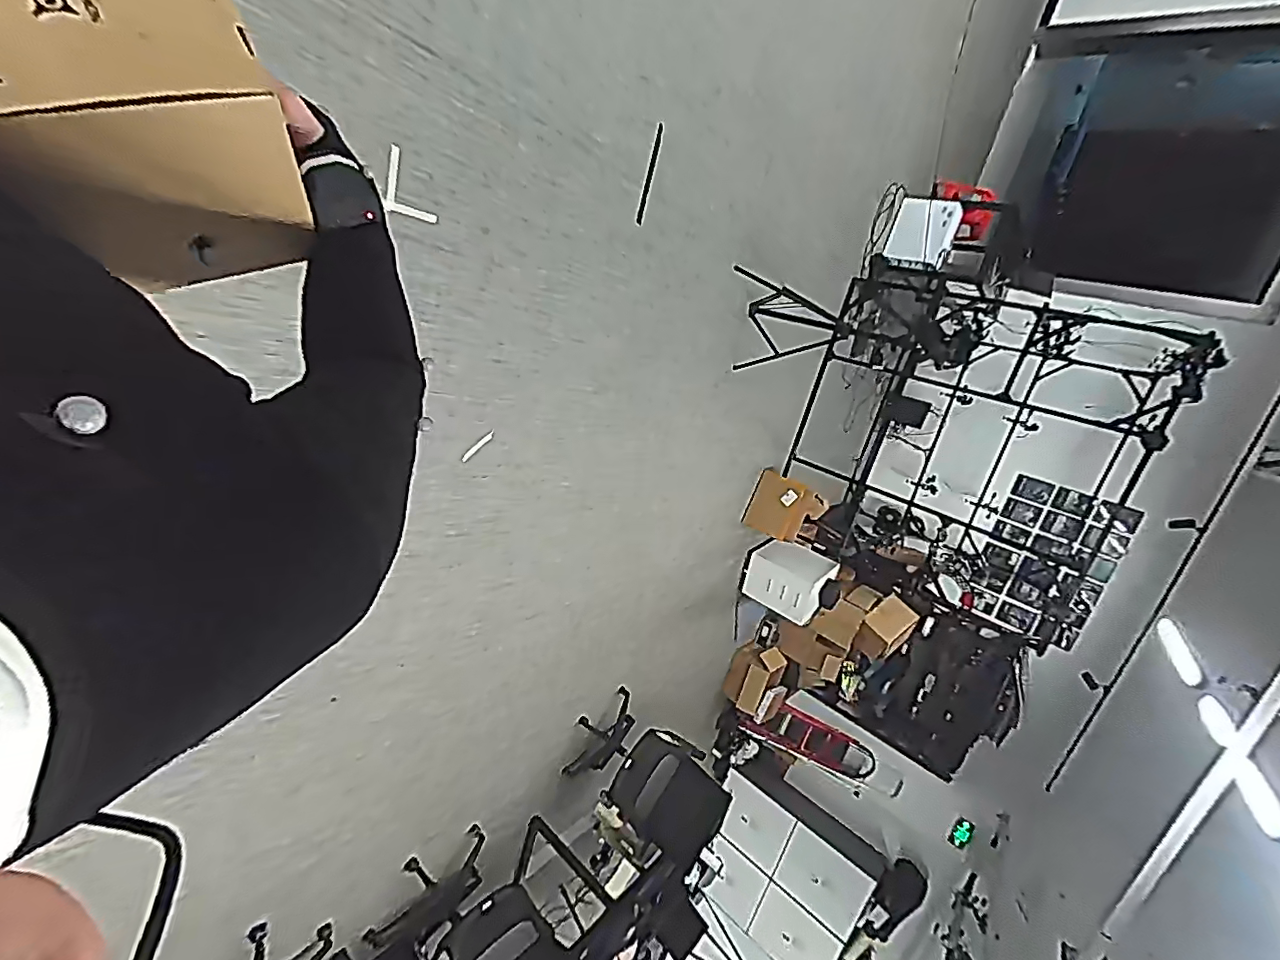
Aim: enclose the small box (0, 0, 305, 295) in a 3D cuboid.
[{"bbox_3d":[-0.396,-0.279,0.431,0.179,0.168,0.176,-27,172,-26],"label":"small box"}]
